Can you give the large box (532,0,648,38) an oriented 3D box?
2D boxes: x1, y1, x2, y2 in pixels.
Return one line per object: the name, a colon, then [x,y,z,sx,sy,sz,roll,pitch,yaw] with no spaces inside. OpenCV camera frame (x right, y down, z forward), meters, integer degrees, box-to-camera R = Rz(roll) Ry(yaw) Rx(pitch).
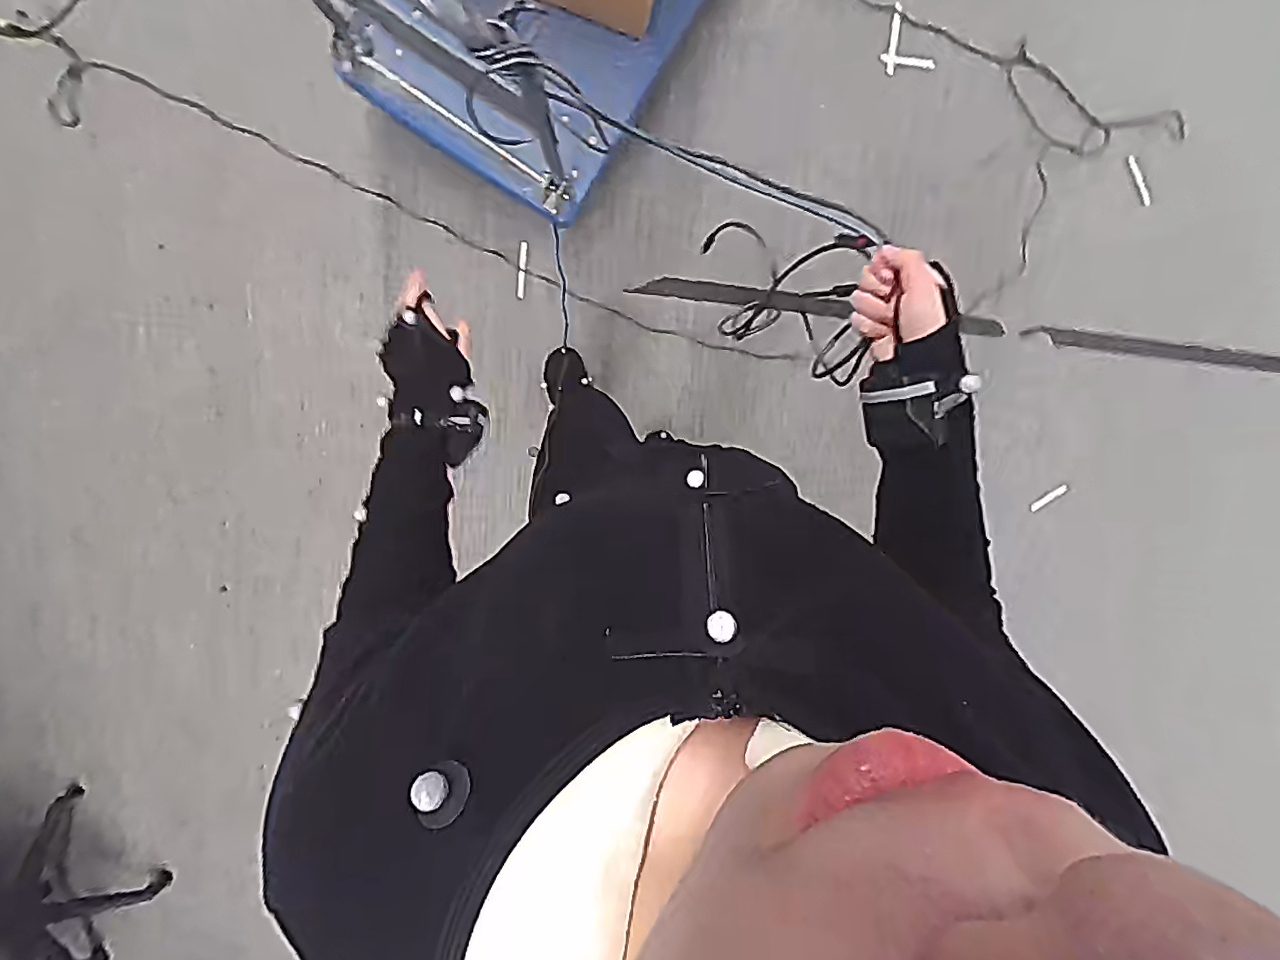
large box: [-0.141,-1.095,0.948,0.408,0.320,0.320,16,99,-7]
